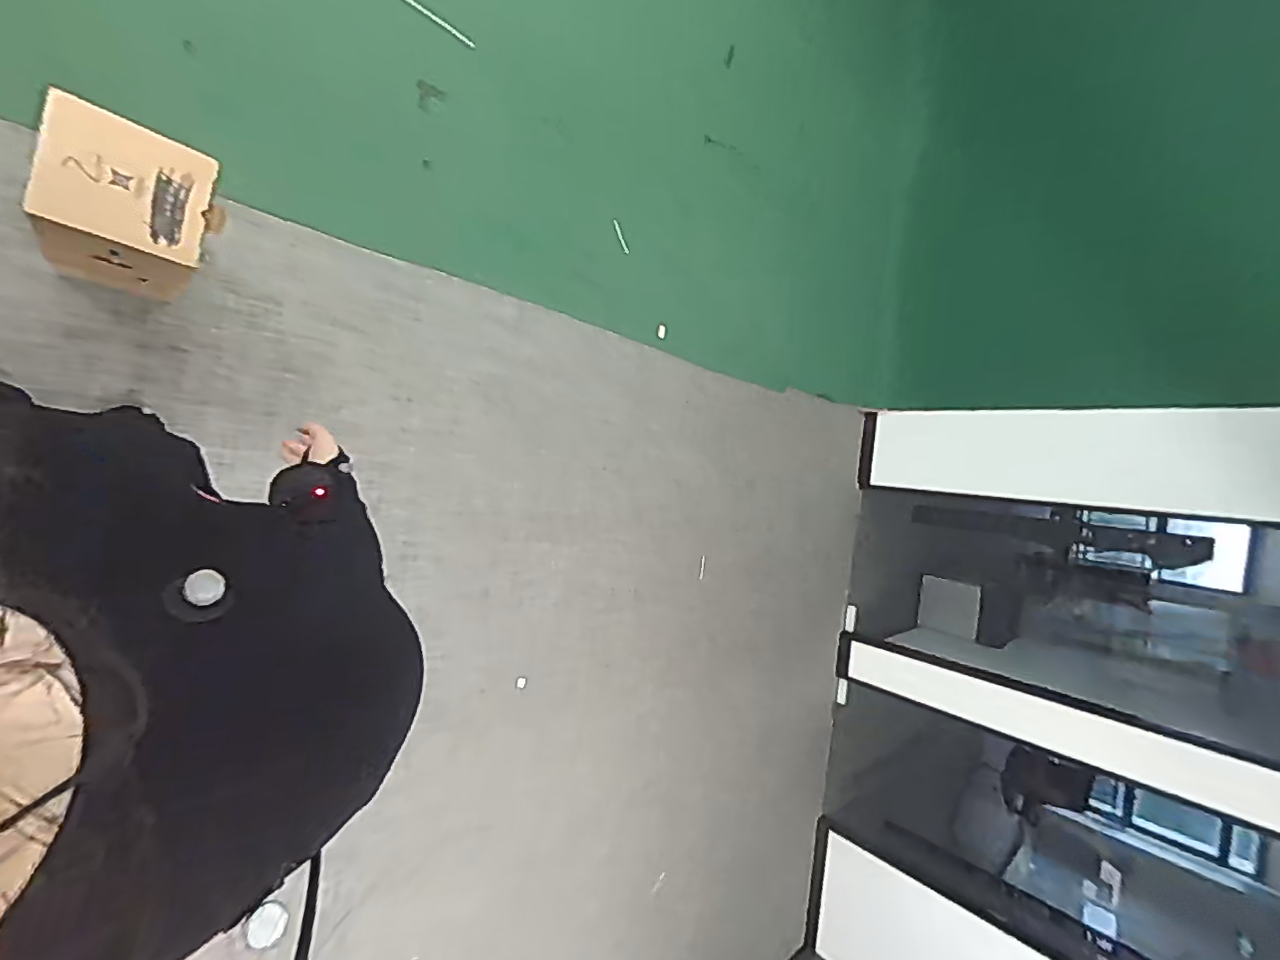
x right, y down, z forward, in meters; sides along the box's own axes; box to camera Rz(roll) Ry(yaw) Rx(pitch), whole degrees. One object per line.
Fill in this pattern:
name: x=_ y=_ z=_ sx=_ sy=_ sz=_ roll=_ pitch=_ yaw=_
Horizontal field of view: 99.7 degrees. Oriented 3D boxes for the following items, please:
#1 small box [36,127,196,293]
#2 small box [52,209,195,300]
small box: x=-0.864 y=-0.429 z=0.900 sx=0.168 sy=0.176 sz=0.179 roll=9 pitch=89 yaw=-45
small box: x=-0.972 y=-0.452 z=1.017 sx=0.179 sy=0.176 sz=0.168 roll=10 pitch=89 yaw=-45
